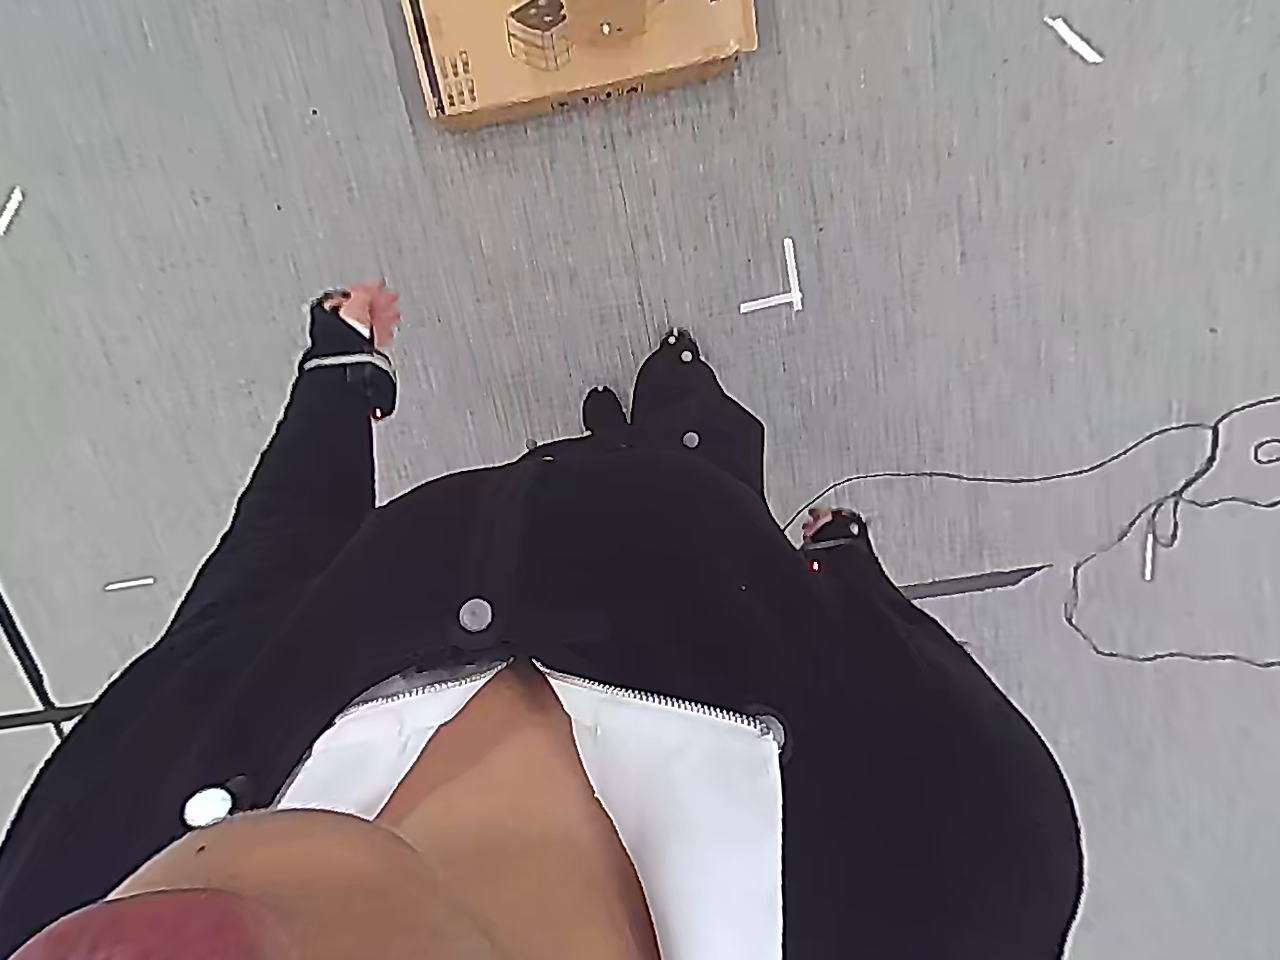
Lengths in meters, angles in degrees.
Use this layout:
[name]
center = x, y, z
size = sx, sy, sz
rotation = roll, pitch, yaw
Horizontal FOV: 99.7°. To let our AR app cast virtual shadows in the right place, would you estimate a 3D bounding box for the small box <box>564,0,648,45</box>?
[small box]
center = -0.075, -1.015, 1.071
size = 0.168, 0.176, 0.179
rotation = -6, 103, 3
